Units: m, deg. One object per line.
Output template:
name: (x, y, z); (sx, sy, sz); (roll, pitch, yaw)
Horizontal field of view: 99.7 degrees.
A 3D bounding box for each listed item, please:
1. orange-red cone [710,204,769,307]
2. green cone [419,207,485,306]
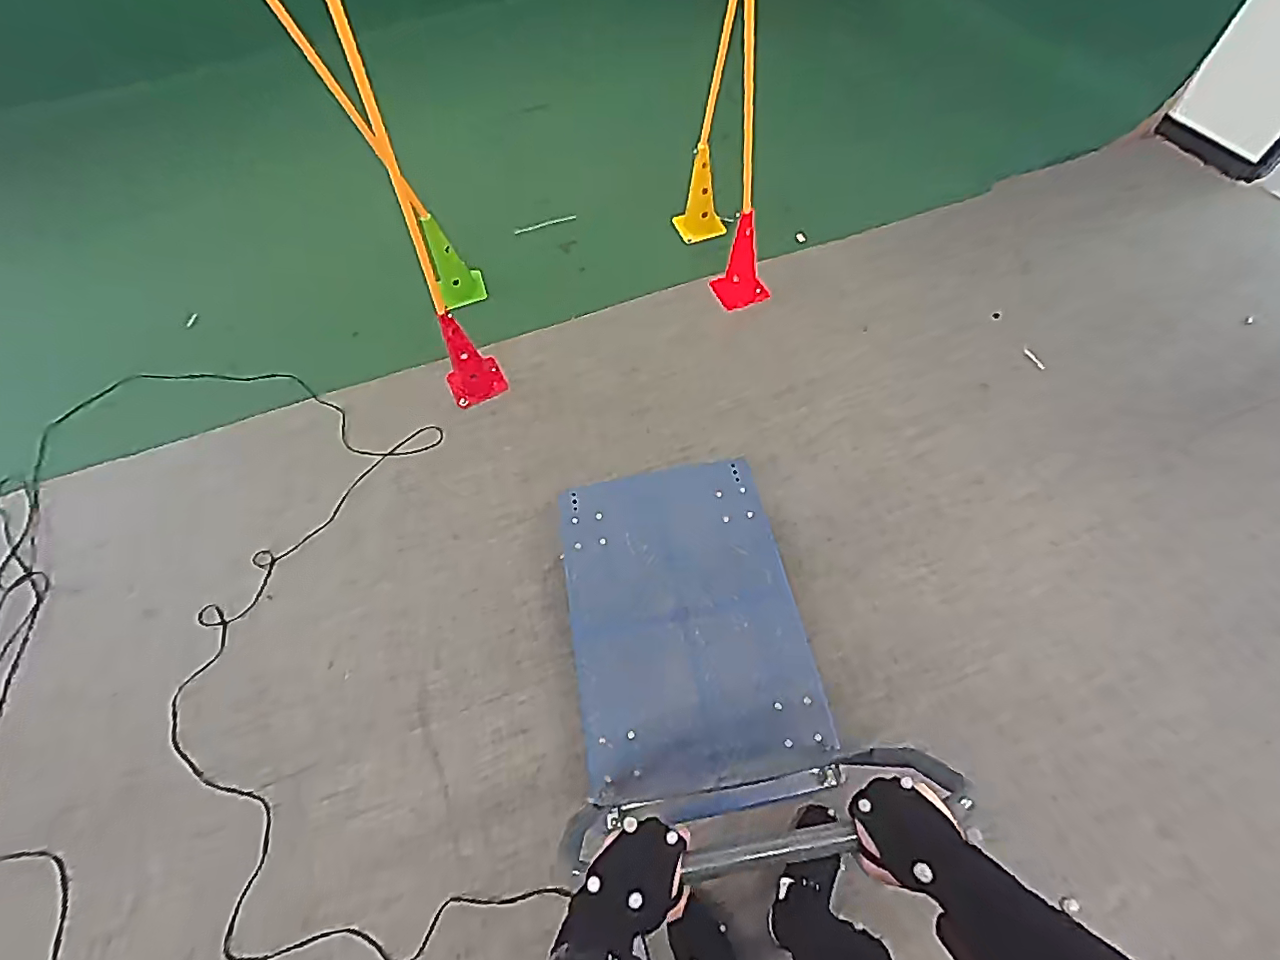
orange-red cone: (0.391, -0.875, 2.061); (0.198, 0.360, 0.199); (-18, 58, -7)
green cone: (-0.791, -0.922, 2.182); (0.200, 0.368, 0.202); (-19, 59, -6)
